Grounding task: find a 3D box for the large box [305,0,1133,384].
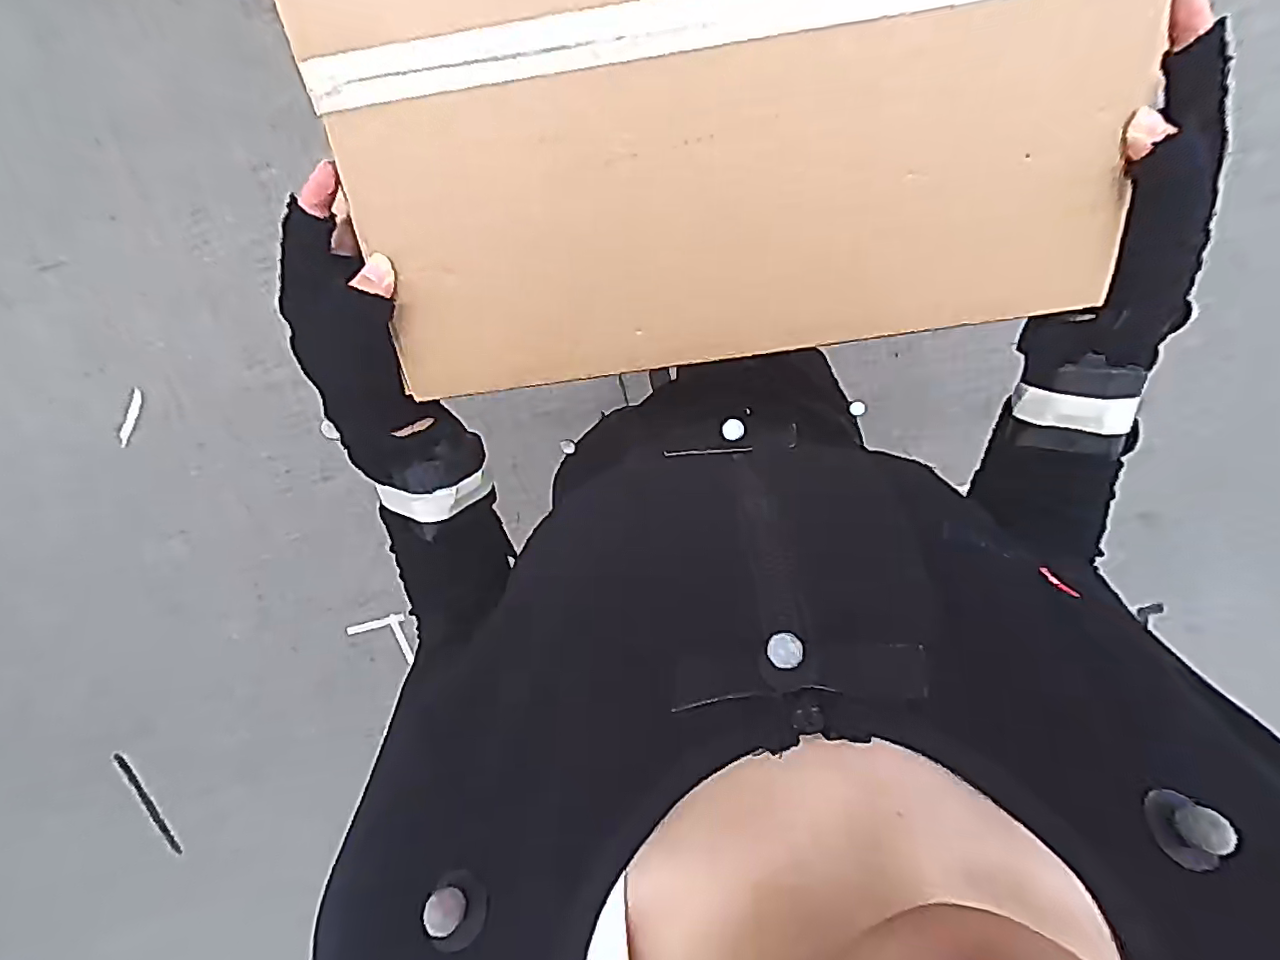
[{"bbox_3d":[0.036,-0.284,0.401,0.408,0.320,0.320,-8,115,2],"label":"large box"}]
